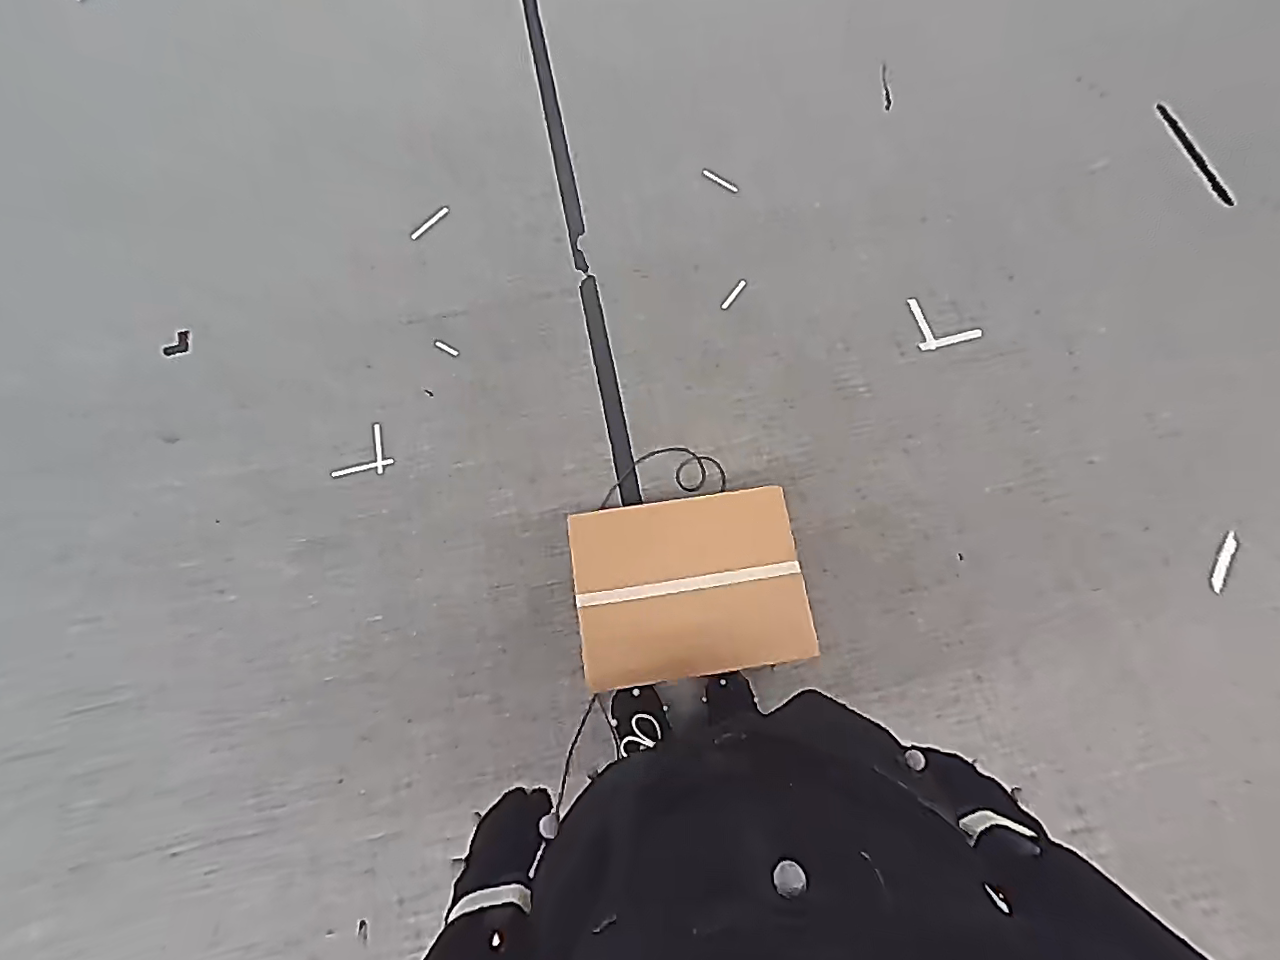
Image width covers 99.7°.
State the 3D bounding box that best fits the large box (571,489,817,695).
[{"bbox_3d":[0.091,0.231,1.109,0.408,0.320,0.320,-8,73,-2],"label":"large box"}]
